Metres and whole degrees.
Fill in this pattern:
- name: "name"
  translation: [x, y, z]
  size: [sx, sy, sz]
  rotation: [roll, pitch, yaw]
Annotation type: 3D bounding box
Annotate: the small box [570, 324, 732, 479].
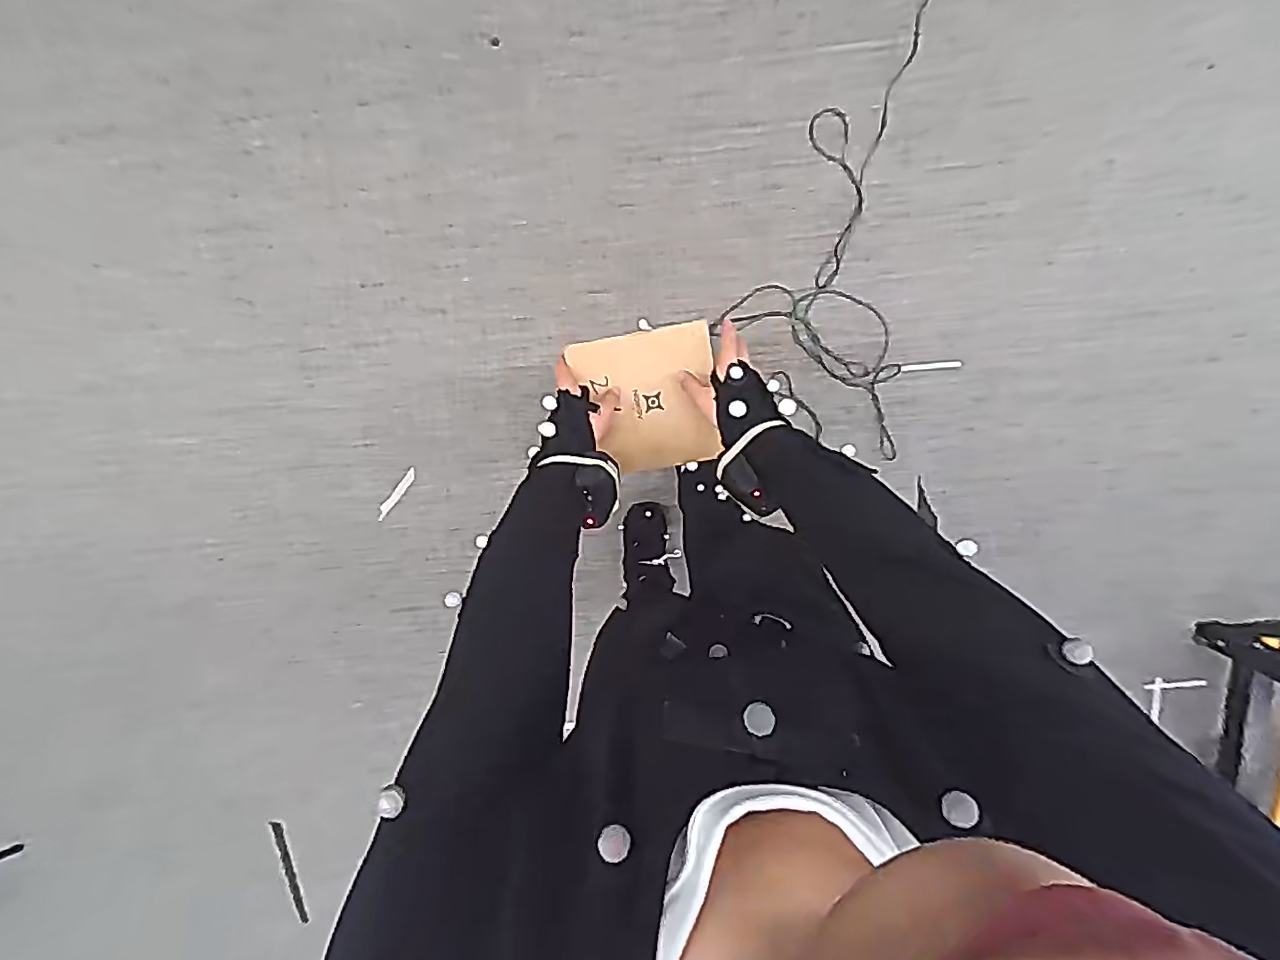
- name: "small box"
  translation: [0.019, -0.109, 0.725]
  size: [0.179, 0.176, 0.168]
  rotation: [-9, 101, 7]
